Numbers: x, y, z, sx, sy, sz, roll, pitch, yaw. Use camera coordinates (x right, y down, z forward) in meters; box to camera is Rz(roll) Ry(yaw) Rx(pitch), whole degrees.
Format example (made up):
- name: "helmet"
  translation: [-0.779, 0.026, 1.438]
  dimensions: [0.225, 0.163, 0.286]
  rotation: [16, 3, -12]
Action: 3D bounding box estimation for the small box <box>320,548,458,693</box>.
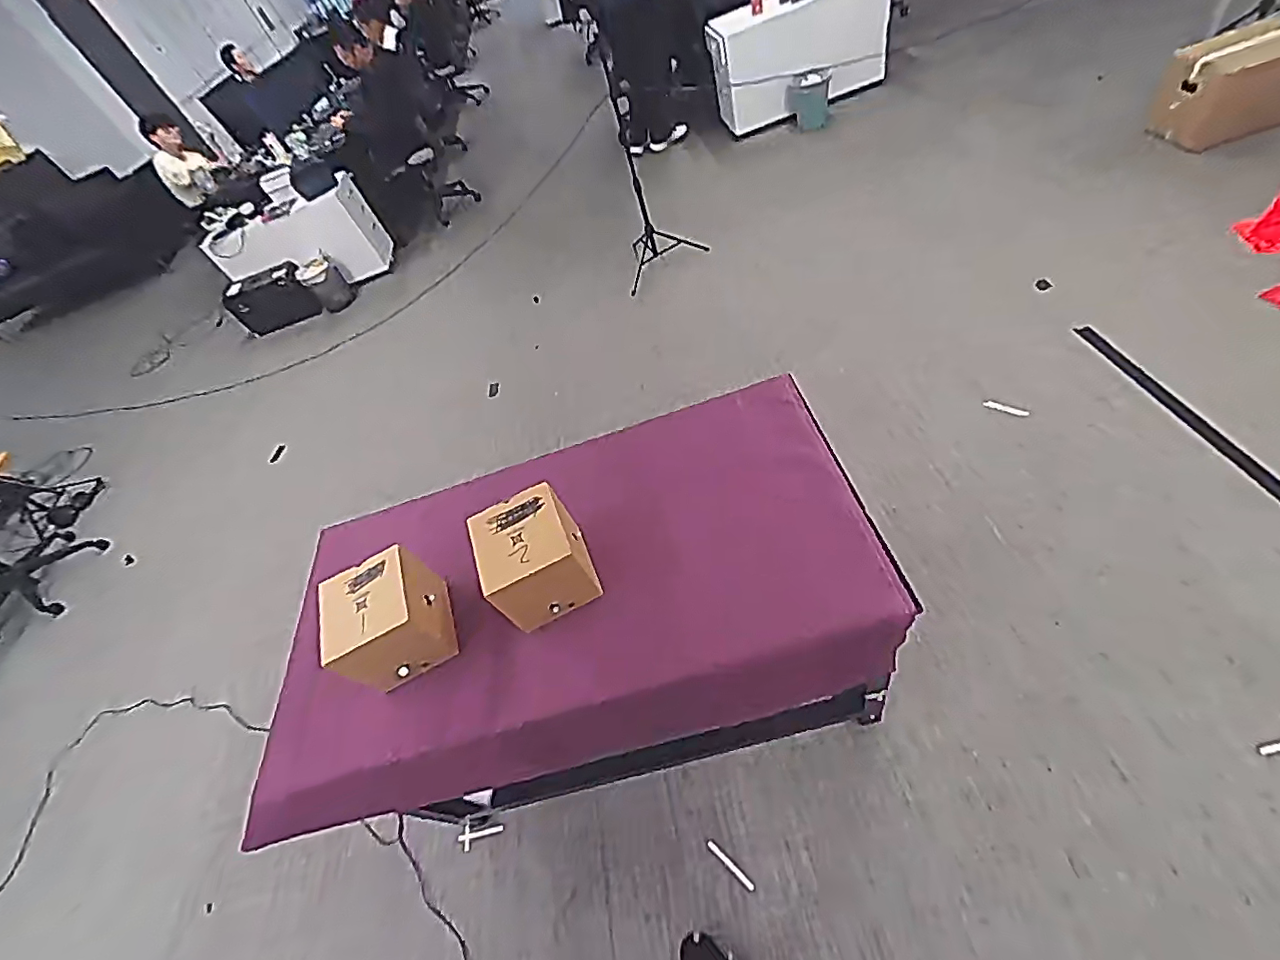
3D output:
- name: "small box"
  translation: [-0.469, 0.267, 1.018]
  dimensions: [0.168, 0.176, 0.179]
  rotation: [-28, 50, -2]
